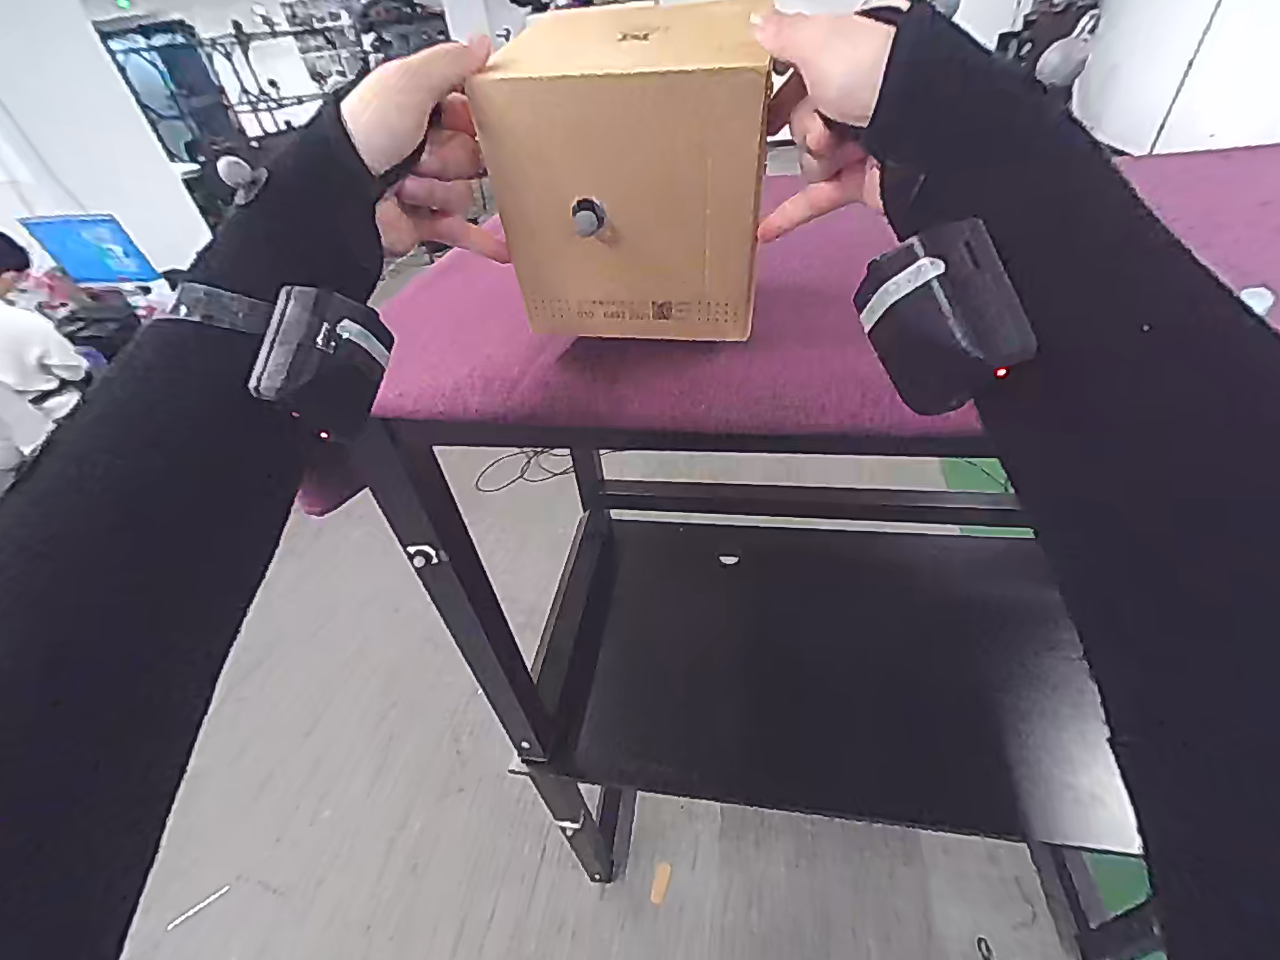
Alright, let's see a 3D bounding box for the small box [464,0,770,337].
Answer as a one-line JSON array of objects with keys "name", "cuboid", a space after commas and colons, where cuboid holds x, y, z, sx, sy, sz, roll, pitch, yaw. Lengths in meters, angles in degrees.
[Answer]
[{"name": "small box", "cuboid": [0.004, -0.221, 0.394, 0.168, 0.176, 0.179, 4, 49, 10]}]
